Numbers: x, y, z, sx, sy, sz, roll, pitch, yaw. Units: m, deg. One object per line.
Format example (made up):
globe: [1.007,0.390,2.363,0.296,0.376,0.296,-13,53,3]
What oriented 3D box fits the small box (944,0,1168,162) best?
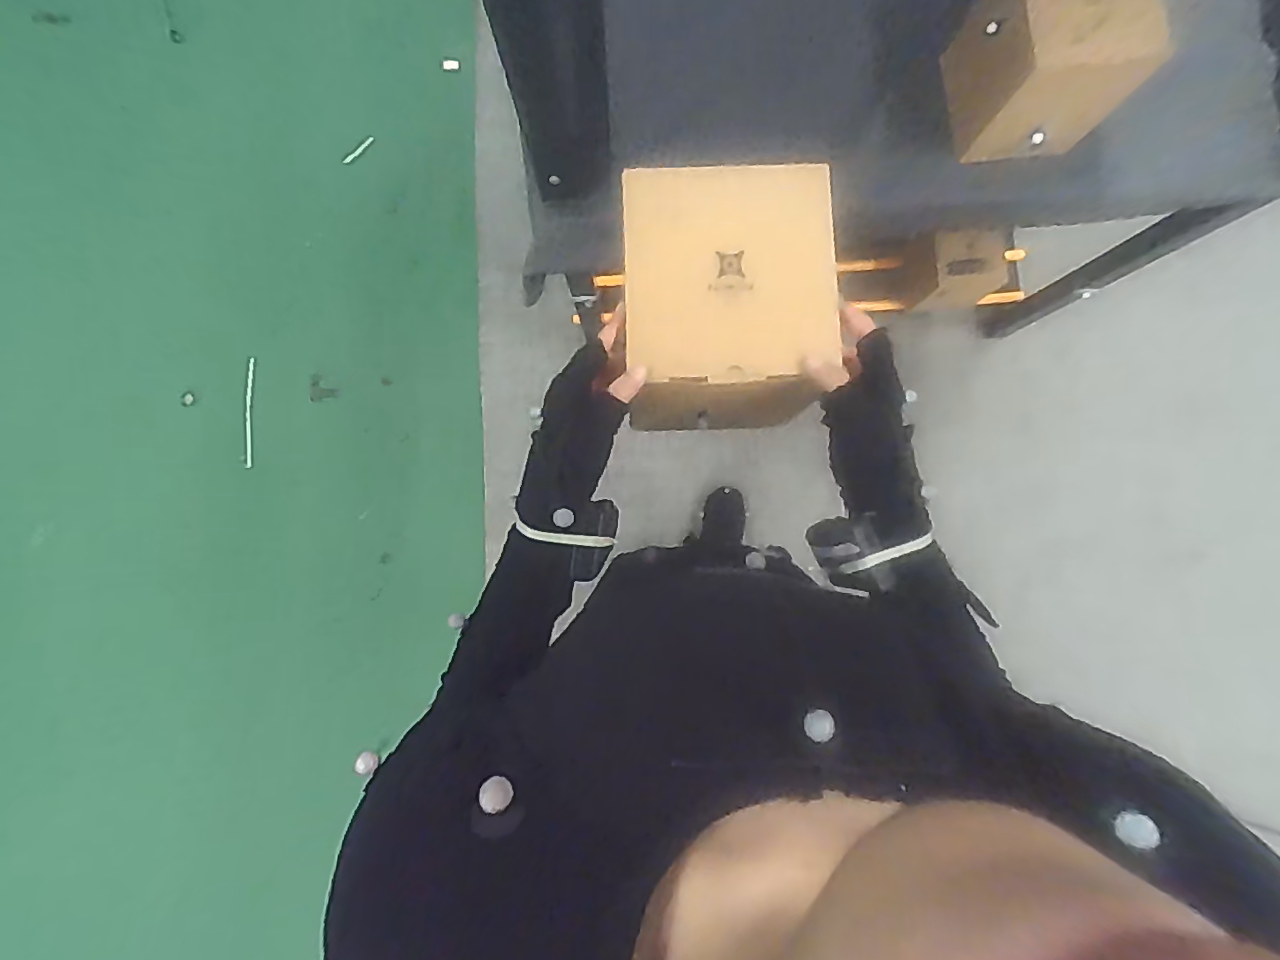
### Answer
small box: [0.544,-0.574,0.736,0.168,0.176,0.179,-6,84,0]
